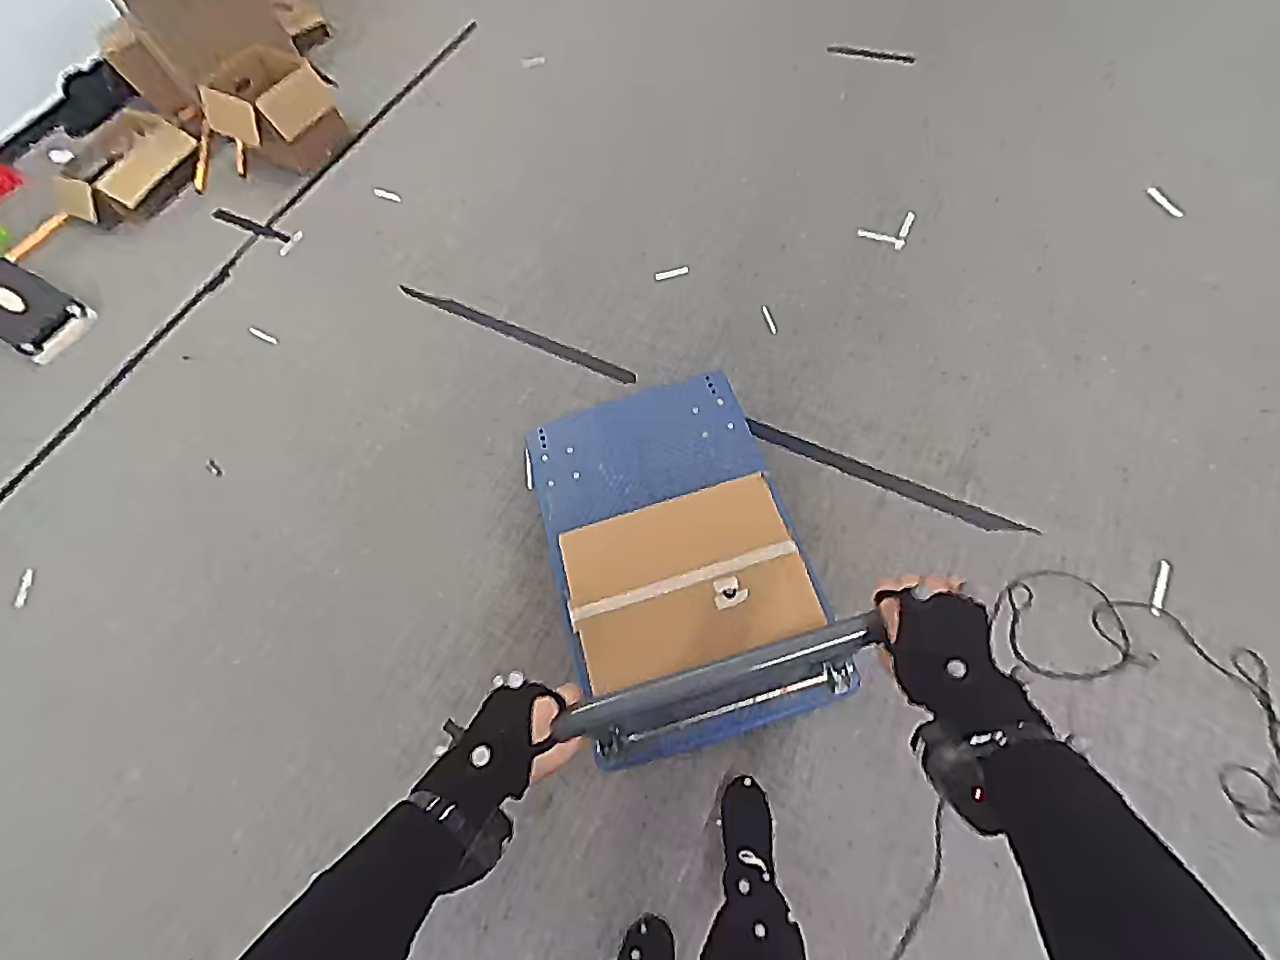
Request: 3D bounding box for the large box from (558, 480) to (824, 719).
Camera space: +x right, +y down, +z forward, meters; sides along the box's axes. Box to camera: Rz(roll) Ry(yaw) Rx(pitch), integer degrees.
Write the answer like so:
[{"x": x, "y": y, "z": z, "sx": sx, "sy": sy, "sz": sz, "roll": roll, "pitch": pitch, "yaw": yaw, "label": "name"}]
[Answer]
[{"x": 0.091, "y": 0.253, "z": 1.077, "sx": 0.408, "sy": 0.320, "sz": 0.320, "roll": -17, "pitch": 64, "yaw": -1, "label": "large box"}]
